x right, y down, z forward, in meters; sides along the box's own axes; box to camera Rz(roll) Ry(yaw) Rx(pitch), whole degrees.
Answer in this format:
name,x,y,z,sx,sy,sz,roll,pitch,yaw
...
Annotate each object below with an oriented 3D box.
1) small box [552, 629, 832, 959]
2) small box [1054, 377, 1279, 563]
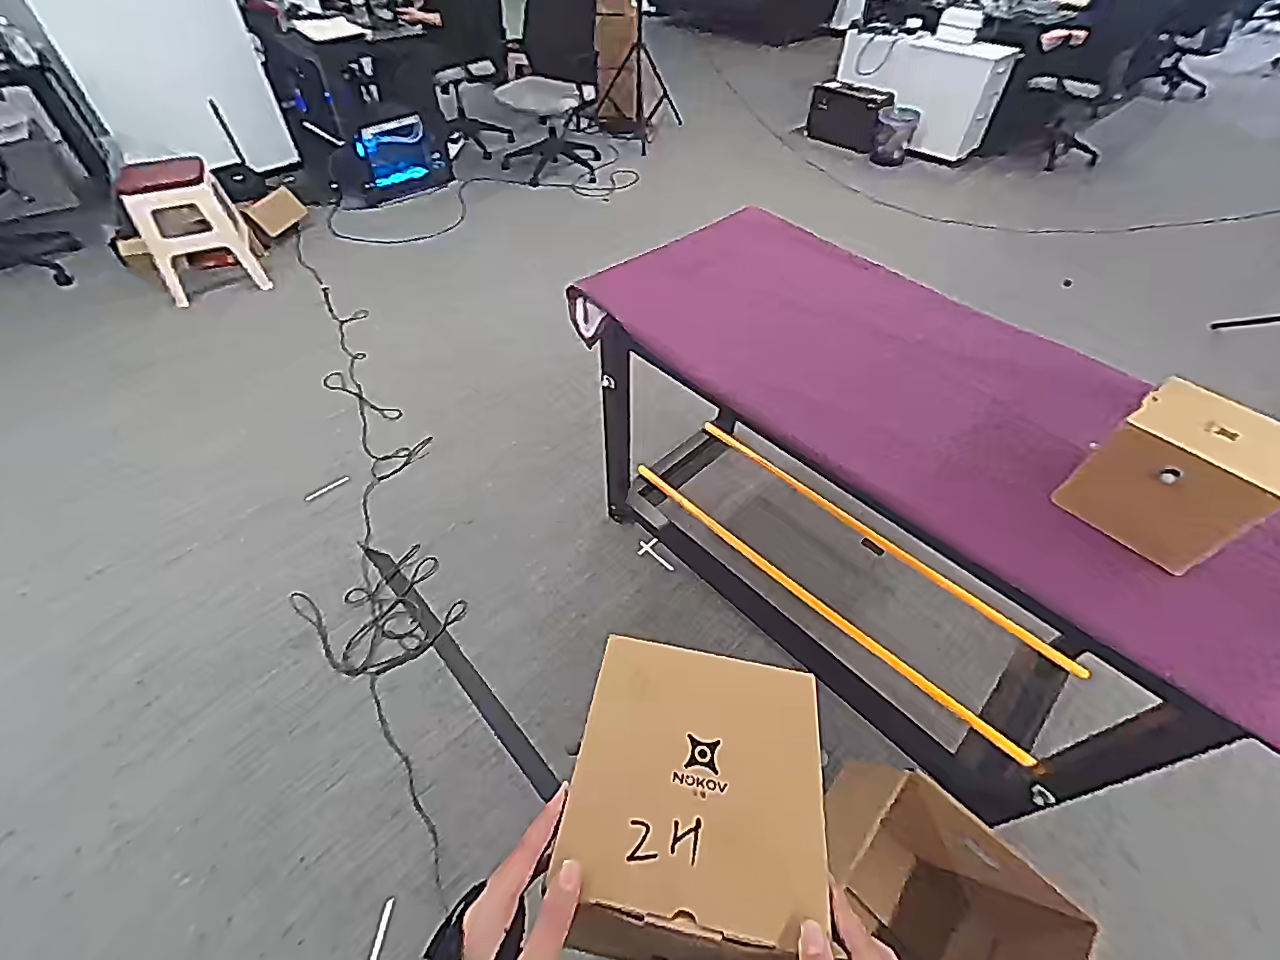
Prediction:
name,x,y,z,sx,sy,sz,roll,pitch,yaw
small box,0.037,0.249,0.420,0.168,0.176,0.179,10,42,6
small box,0.745,-0.008,0.757,0.168,0.176,0.179,-30,55,-26
